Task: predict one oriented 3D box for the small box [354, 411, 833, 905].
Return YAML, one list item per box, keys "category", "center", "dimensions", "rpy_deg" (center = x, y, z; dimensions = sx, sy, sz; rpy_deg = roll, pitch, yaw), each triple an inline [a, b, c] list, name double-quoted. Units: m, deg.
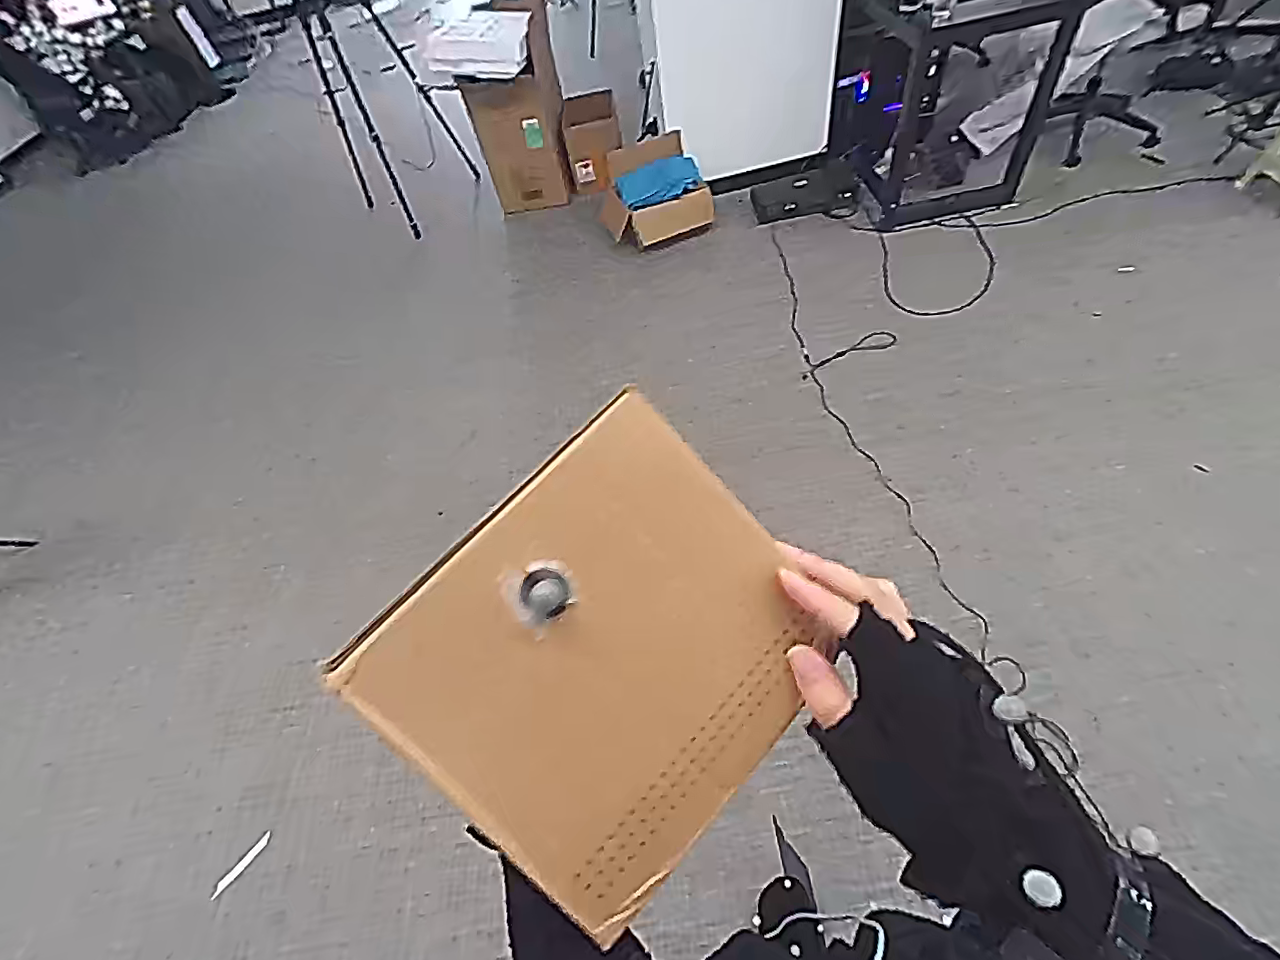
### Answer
- category: "small box"
  center: [-0.024, 0.091, 0.328]
  dimensions: [0.179, 0.168, 0.176]
  rpy_deg: [-44, 96, -14]
